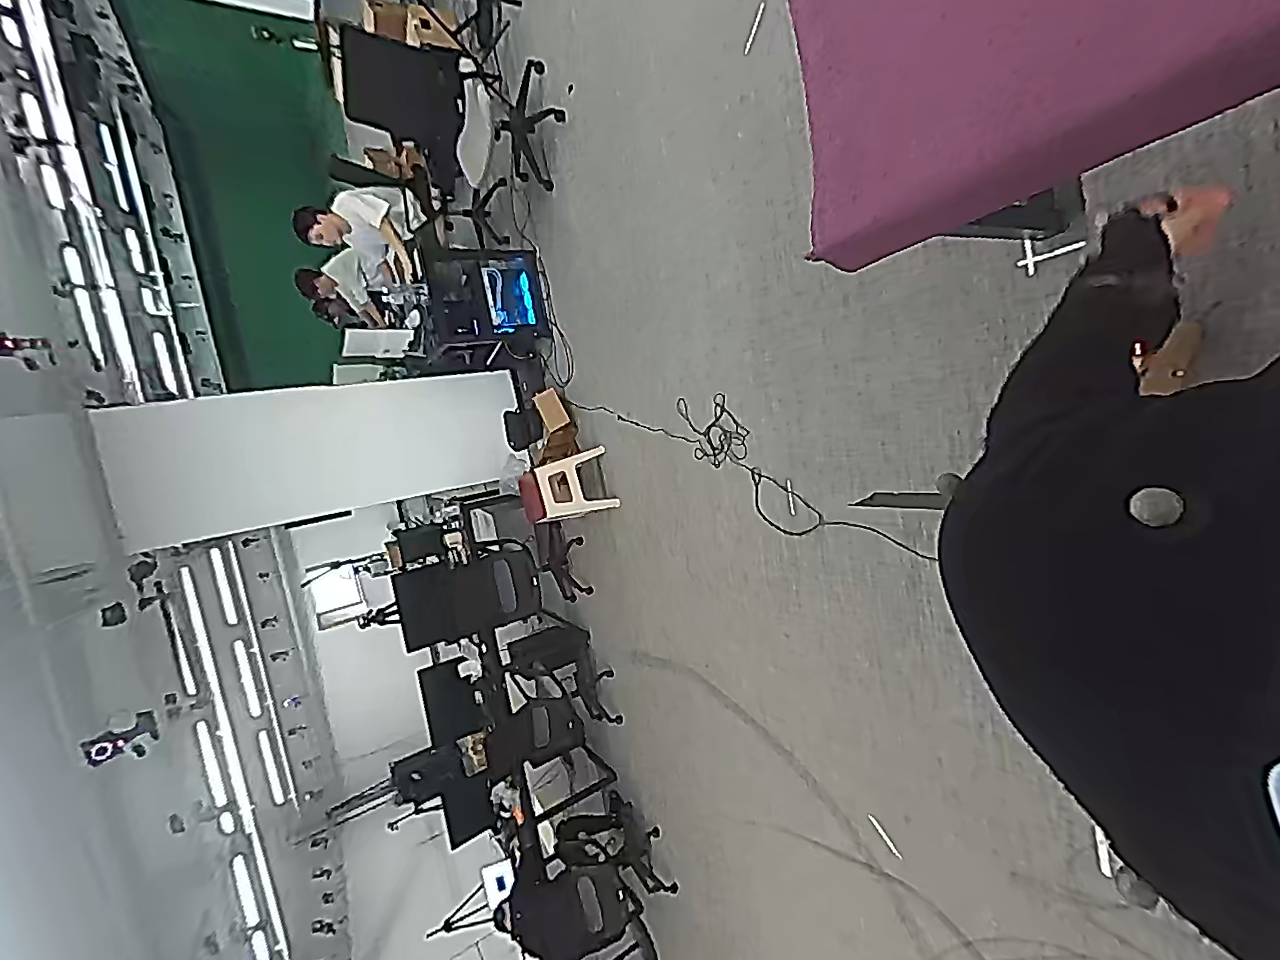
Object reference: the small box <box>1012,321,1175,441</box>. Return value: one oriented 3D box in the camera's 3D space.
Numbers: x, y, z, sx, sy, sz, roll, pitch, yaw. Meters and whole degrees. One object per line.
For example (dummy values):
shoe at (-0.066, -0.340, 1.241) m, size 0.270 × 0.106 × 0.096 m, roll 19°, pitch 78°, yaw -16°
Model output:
small box at (0.864, -0.197, 1.032) m, size 0.168 × 0.176 × 0.179 m, roll 39°, pitch 134°, yaw 46°
